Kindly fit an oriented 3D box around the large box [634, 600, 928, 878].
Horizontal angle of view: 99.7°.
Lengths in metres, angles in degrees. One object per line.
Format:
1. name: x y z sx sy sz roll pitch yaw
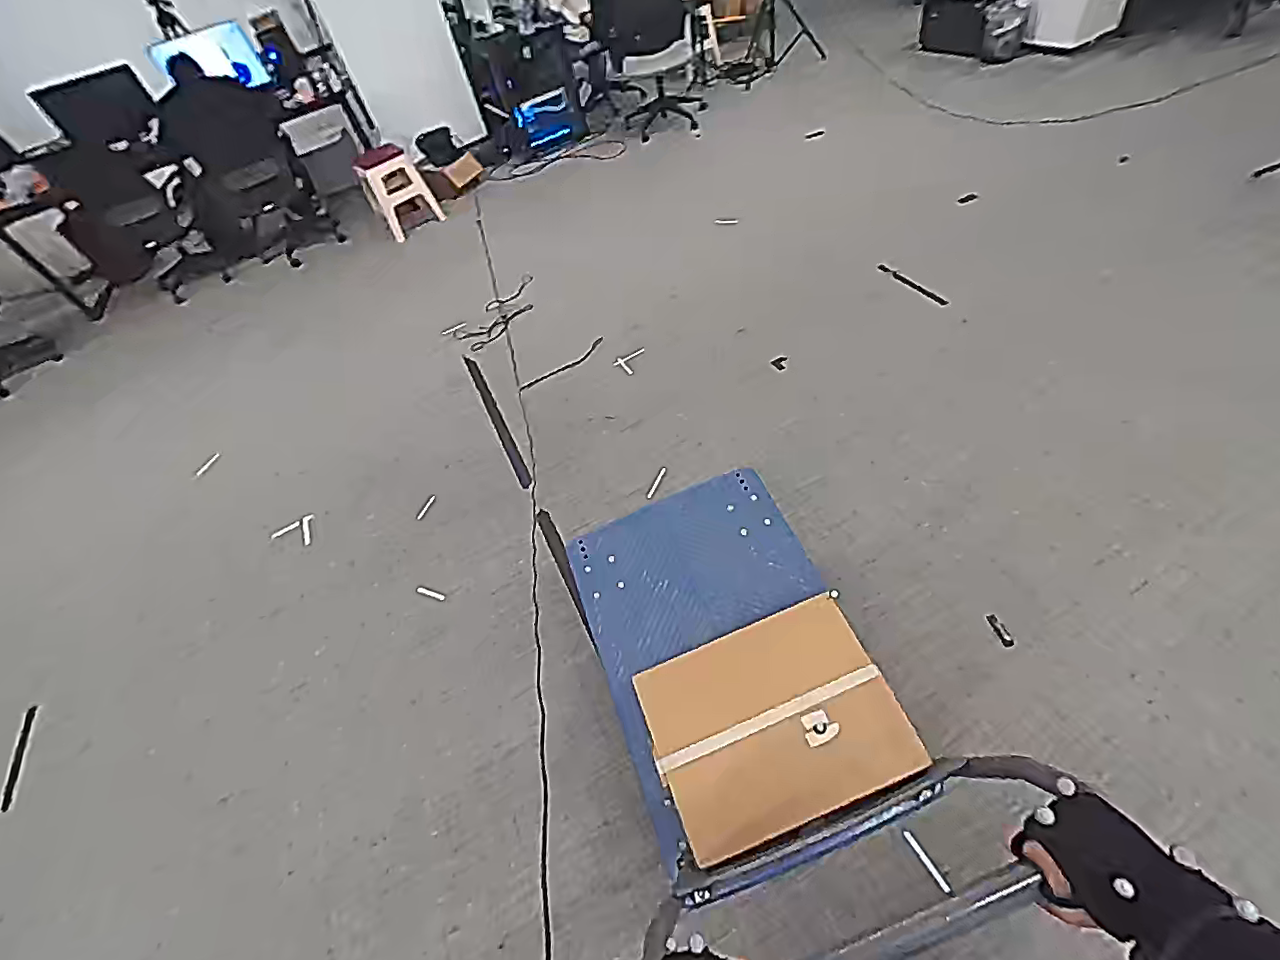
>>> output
1. large box: 0.246 0.494 1.039 0.408 0.320 0.320 -23 58 -3
